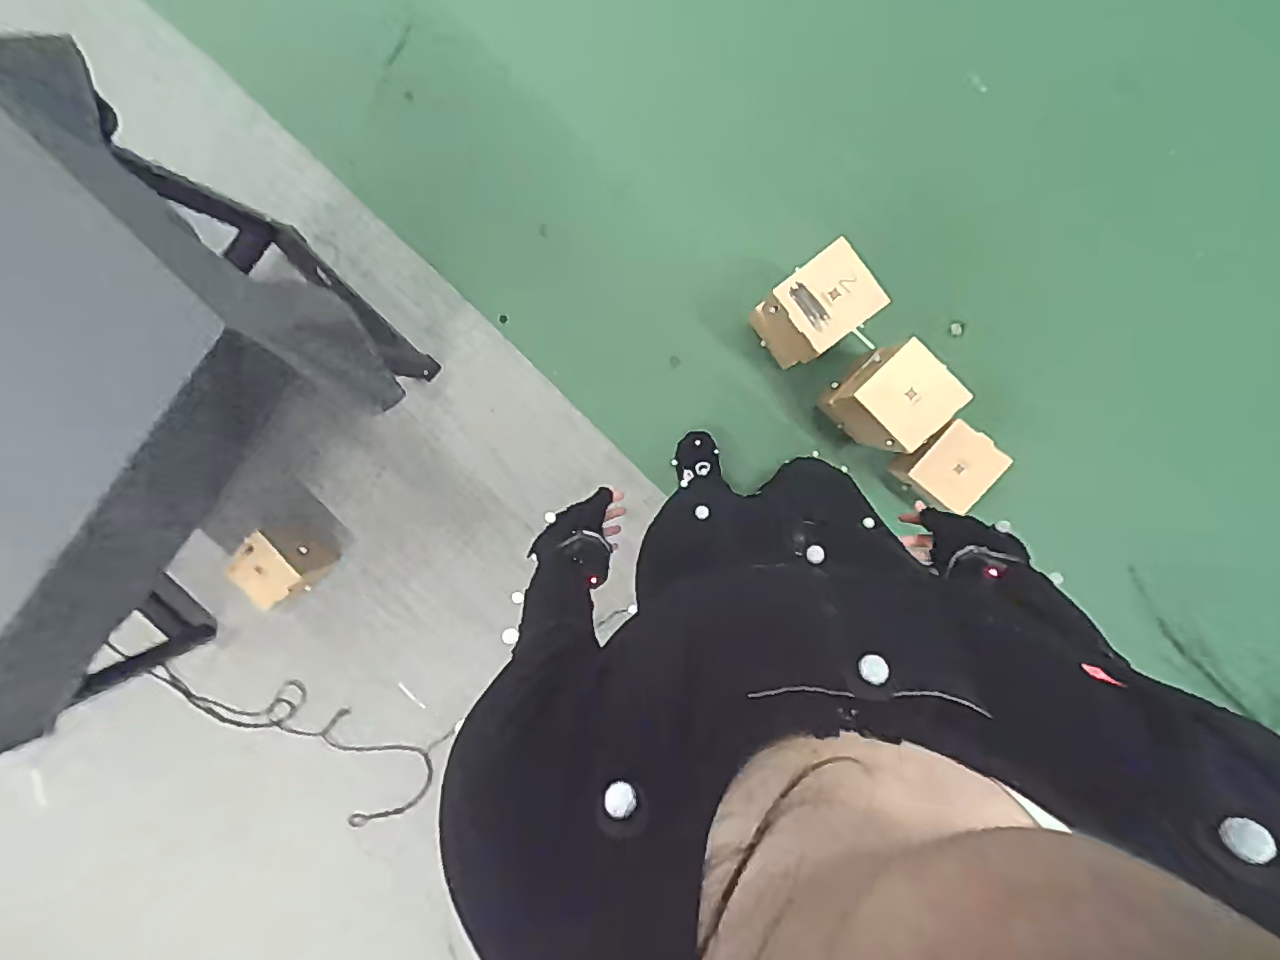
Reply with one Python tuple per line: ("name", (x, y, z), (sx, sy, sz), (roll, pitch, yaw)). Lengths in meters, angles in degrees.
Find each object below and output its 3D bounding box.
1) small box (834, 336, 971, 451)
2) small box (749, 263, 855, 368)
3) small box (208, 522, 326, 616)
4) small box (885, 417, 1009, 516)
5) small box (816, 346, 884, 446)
("small box", (0.553, -0.181, 1.170), (0.179, 0.176, 0.168), (45, 98, -2))
("small box", (0.385, -0.394, 1.323), (0.179, 0.176, 0.168), (-35, 92, 9))
("small box", (-1.031, 0.240, 1.512), (0.168, 0.176, 0.179), (-42, 92, 8))
("small box", (0.745, -0.039, 1.336), (0.168, 0.176, 0.179), (39, 98, -1))
("small box", (0.558, -0.201, 1.331), (0.168, 0.176, 0.179), (42, 98, -1))
